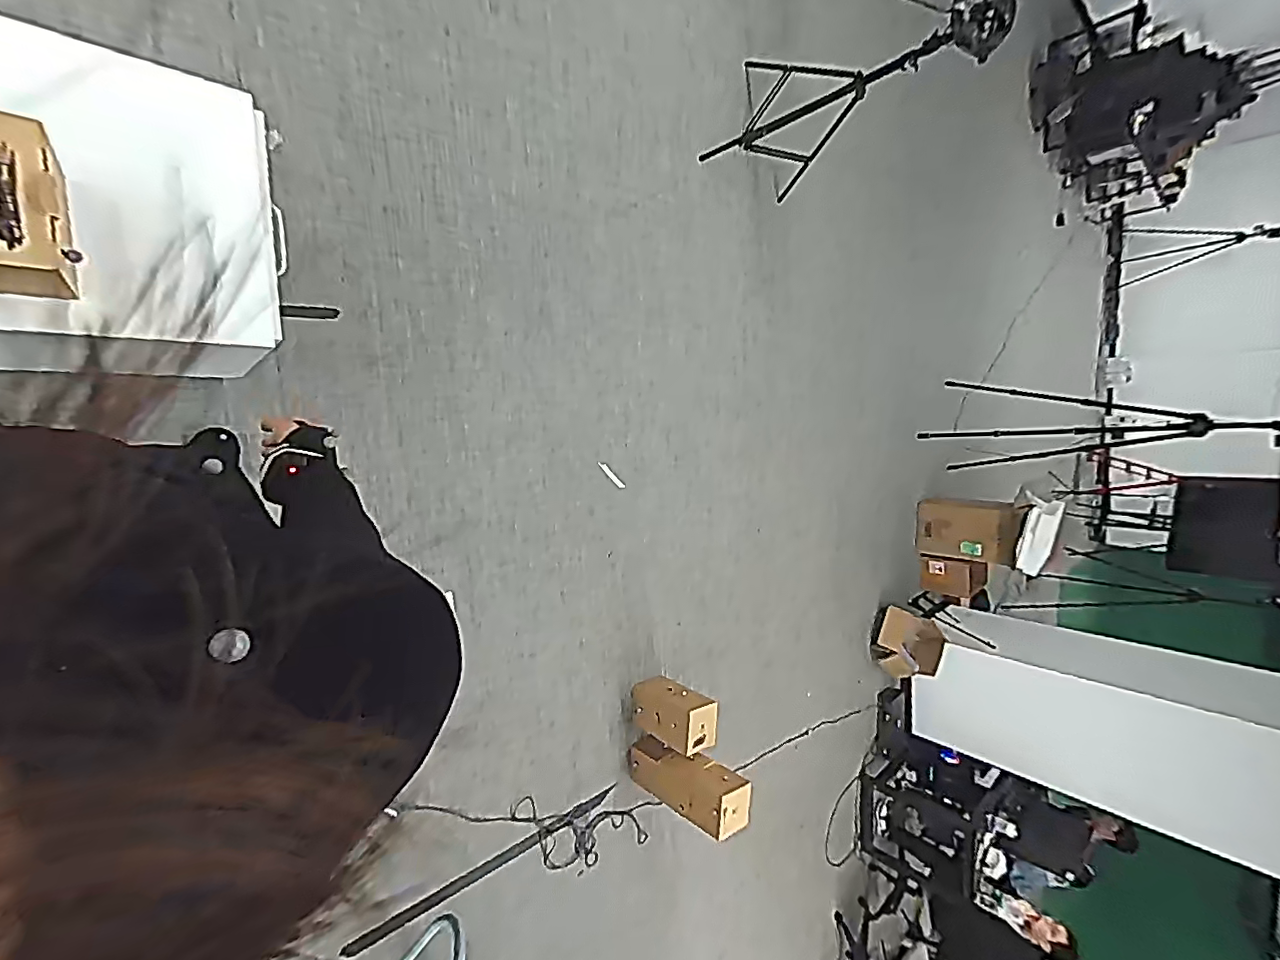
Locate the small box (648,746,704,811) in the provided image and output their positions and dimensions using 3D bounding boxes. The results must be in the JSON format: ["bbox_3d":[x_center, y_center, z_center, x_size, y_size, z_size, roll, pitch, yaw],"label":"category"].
[{"bbox_3d":[0.146,1.198,2.187,0.168,0.176,0.179,-5,97,-43],"label":"small box"}]

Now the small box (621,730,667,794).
[{"bbox_3d":[0.036,1.188,2.305,0.179,0.176,0.168,-7,98,-42],"label":"small box"}]

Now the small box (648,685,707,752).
[{"bbox_3d":[0.147,0.946,2.160,0.168,0.176,0.179,4,90,-43],"label":"small box"}]

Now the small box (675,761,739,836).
[{"bbox_3d":[0.256,1.205,2.065,0.179,0.176,0.168,4,90,-44],"label":"small box"}]

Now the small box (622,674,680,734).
[{"bbox_3d":[0.046,0.941,2.291,0.179,0.176,0.168,-1,94,-42],"label":"small box"}]
